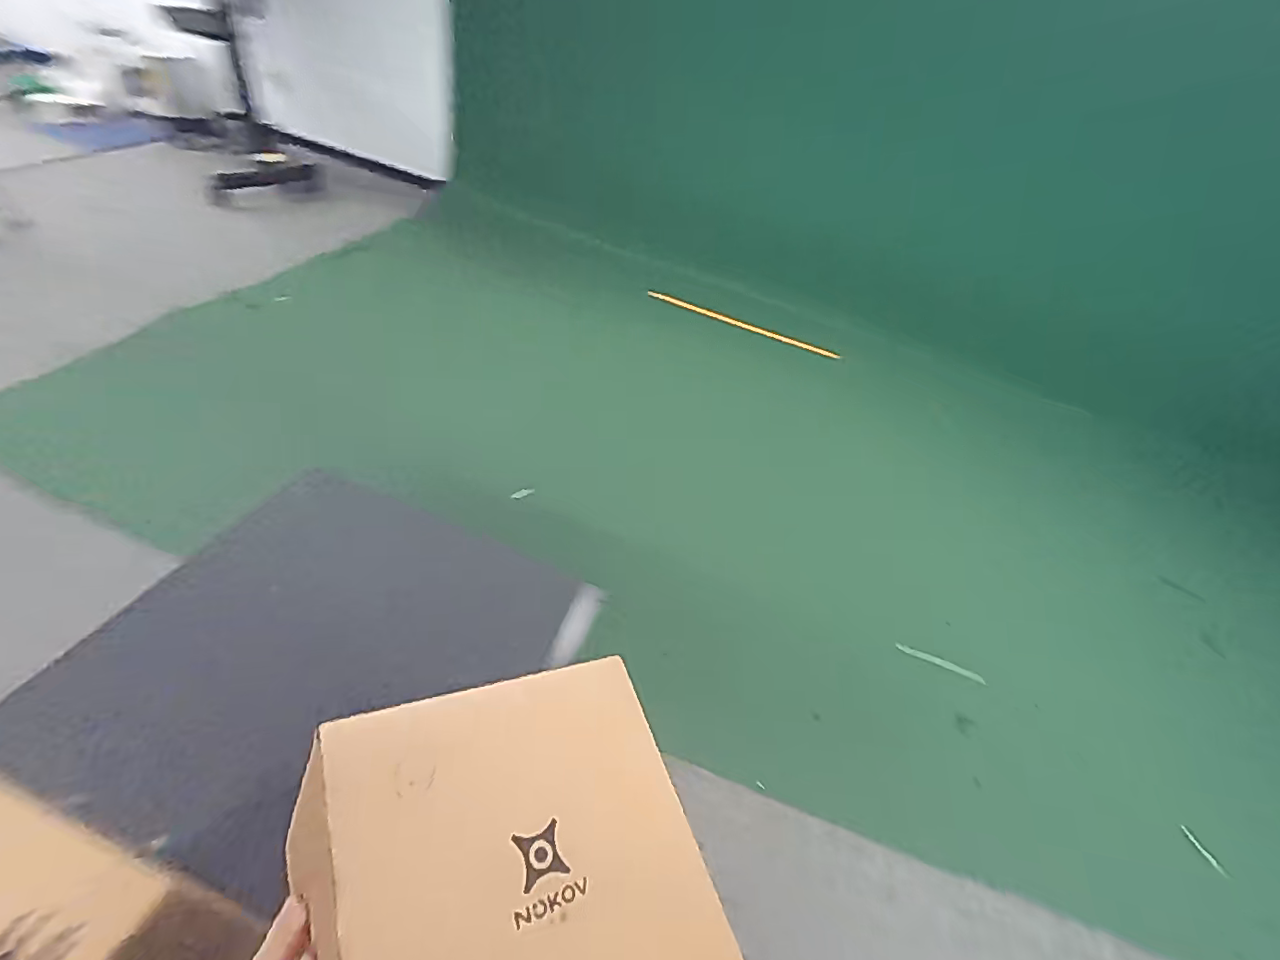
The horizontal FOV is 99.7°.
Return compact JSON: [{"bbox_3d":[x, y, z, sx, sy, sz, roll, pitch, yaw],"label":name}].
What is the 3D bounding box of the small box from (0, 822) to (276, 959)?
[{"bbox_3d":[-0.451,0.427,0.444,0.179,0.176,0.168,22,43,7],"label":"small box"}]
